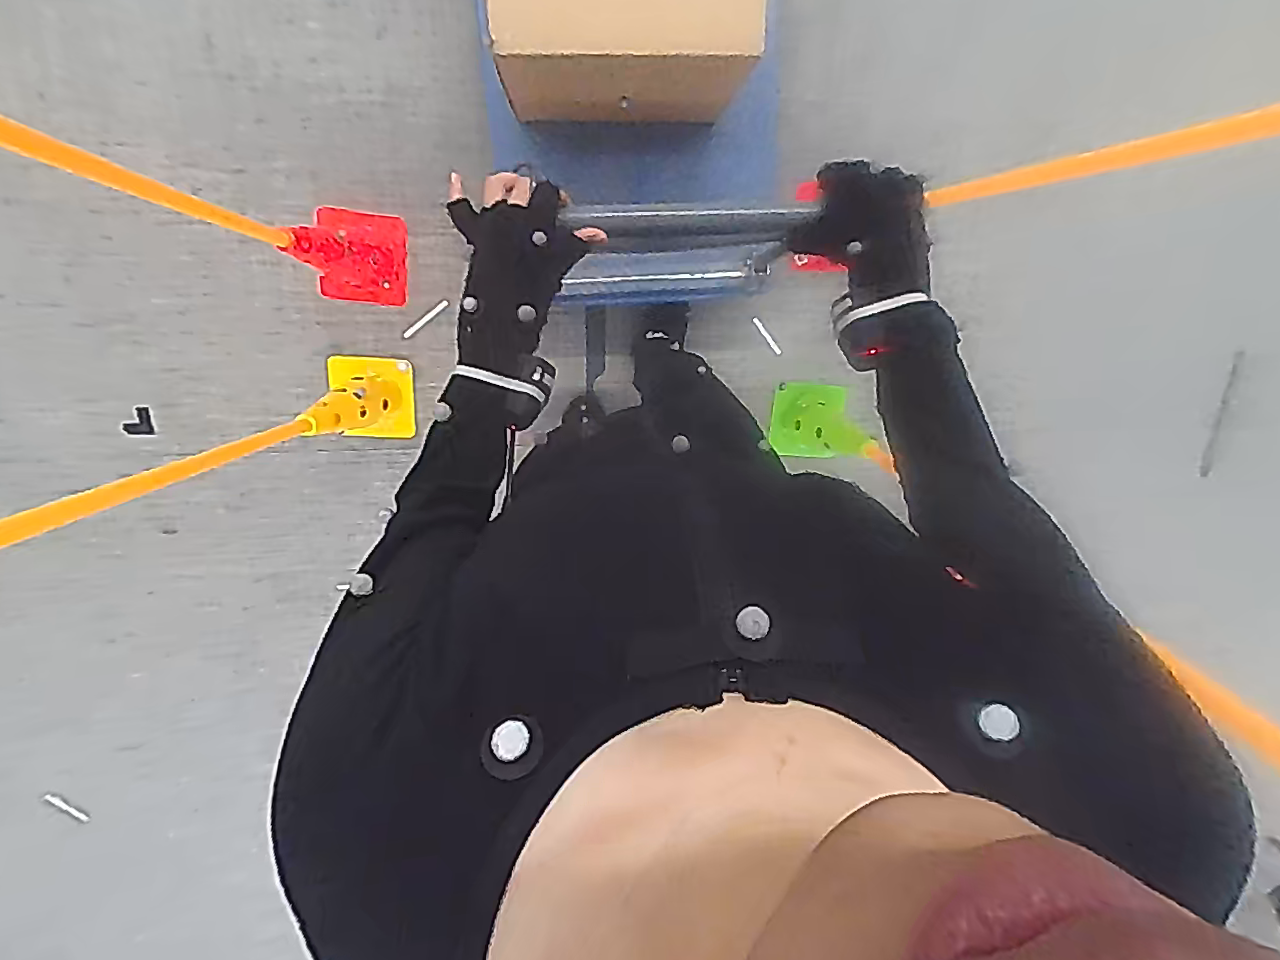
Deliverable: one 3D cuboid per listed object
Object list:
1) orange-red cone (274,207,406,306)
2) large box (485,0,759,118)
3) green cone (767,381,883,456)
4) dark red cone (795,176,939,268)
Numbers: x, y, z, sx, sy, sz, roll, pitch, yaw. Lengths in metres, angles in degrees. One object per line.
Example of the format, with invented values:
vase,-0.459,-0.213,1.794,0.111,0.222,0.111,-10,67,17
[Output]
orange-red cone,-0.633,-0.471,1.097,0.198,0.360,0.199,6,105,-8
large box,-0.036,-0.823,0.894,0.408,0.320,0.320,-3,108,-4
green cone,0.471,-0.117,1.314,0.202,0.368,0.200,2,107,-8
dark red cone,0.495,-0.575,1.156,0.201,0.394,0.202,-2,108,-7
